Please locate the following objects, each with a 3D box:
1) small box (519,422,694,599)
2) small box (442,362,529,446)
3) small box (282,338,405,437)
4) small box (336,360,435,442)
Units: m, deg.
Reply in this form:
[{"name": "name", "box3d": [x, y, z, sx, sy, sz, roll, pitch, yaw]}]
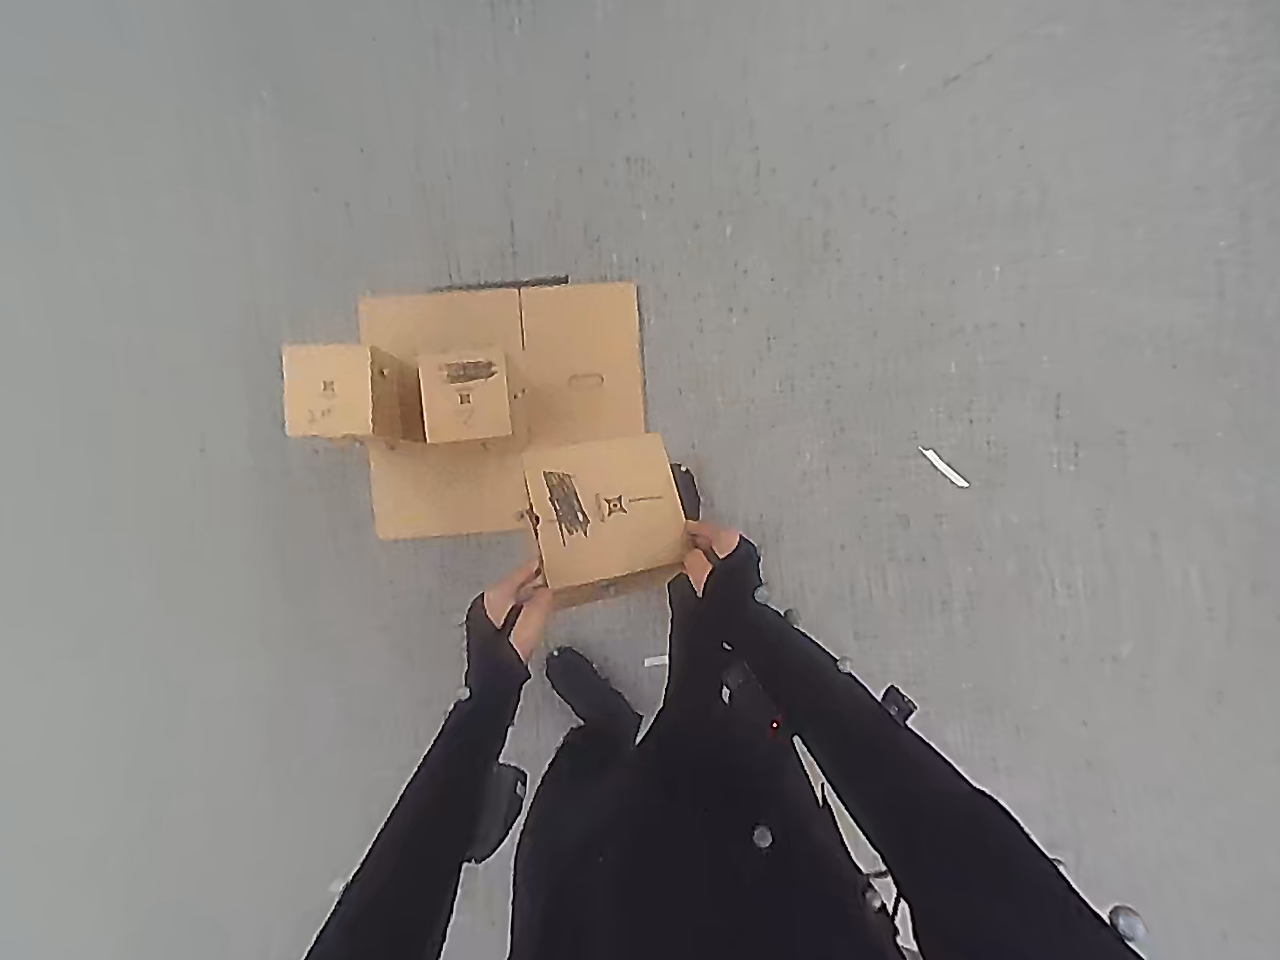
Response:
[{"name": "small box", "box3d": [-0.052, 0.046, 0.693, 0.179, 0.176, 0.168, -10, 71, -16]}, {"name": "small box", "box3d": [-0.356, -0.172, 1.268, 0.168, 0.176, 0.179, 0, 91, -3]}, {"name": "small box", "box3d": [-0.589, -0.180, 1.091, 0.168, 0.176, 0.179, -1, 92, -2]}, {"name": "small box", "box3d": [-0.586, -0.177, 1.257, 0.168, 0.176, 0.179, -2, 92, -2]}]
